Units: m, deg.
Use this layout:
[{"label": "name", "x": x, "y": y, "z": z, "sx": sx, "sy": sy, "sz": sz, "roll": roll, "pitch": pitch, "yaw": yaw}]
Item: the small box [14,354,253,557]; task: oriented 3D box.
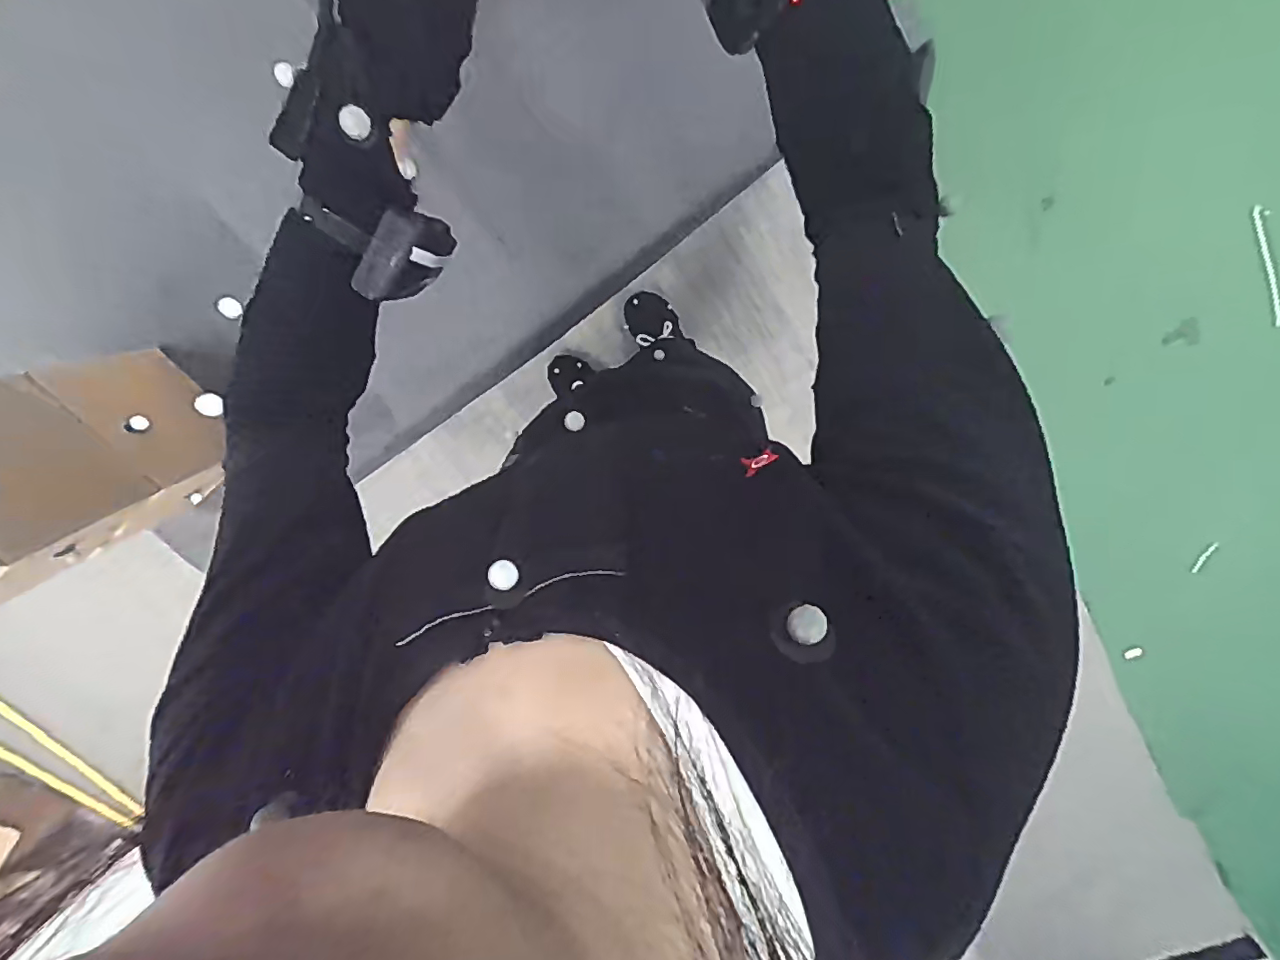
[{"label": "small box", "x": -0.659, "y": -0.043, "z": 0.687, "sx": 0.168, "sy": 0.176, "sz": 0.179, "roll": -34, "pitch": 108, "yaw": 15}]

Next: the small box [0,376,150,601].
[{"label": "small box", "x": -0.664, "y": 0.022, "z": 0.537, "sx": 0.168, "sy": 0.176, "sz": 0.179, "roll": -33, "pitch": 108, "yaw": 14}]
